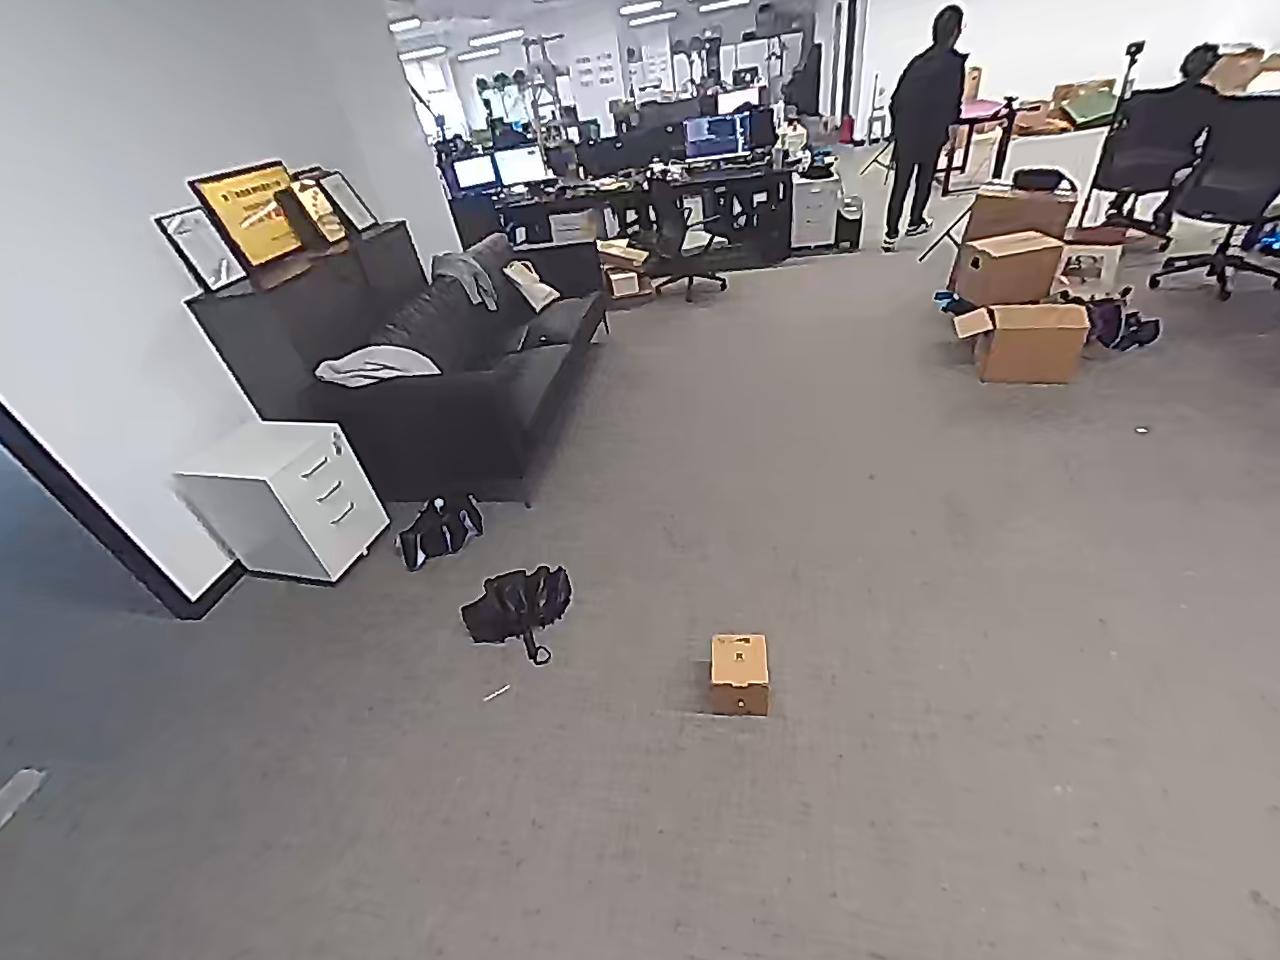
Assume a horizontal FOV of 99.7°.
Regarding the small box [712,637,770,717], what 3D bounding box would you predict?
[{"bbox_3d":[0.311,0.604,1.657,0.168,0.176,0.179,-2,37,11],"label":"small box"}]
